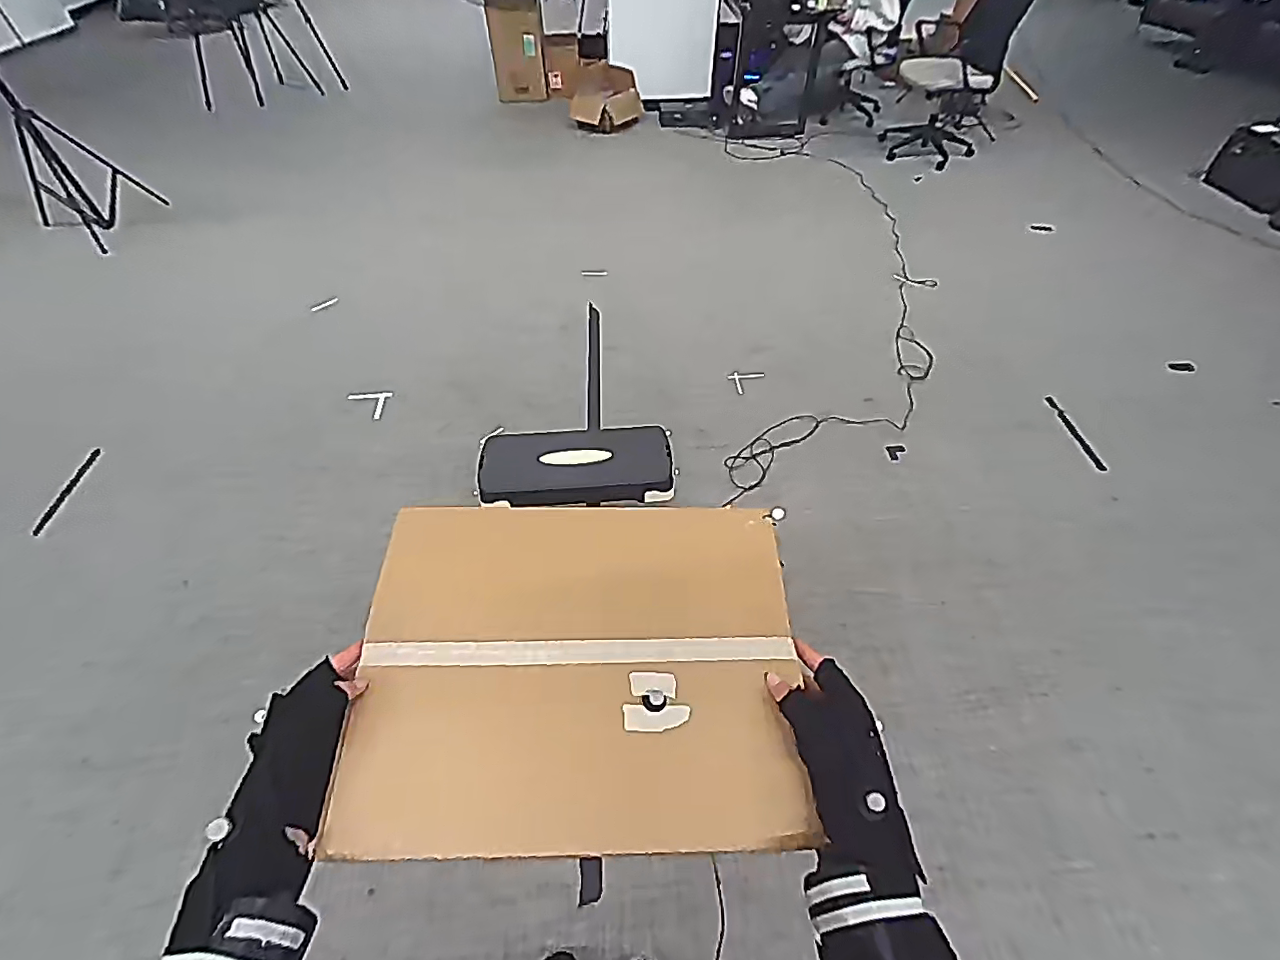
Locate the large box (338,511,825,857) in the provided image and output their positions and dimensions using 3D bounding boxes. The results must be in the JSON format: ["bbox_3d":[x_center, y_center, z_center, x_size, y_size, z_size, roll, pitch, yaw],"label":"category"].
[{"bbox_3d":[-0.056,0.245,0.640,0.408,0.320,0.320,1,57,-3],"label":"large box"}]
